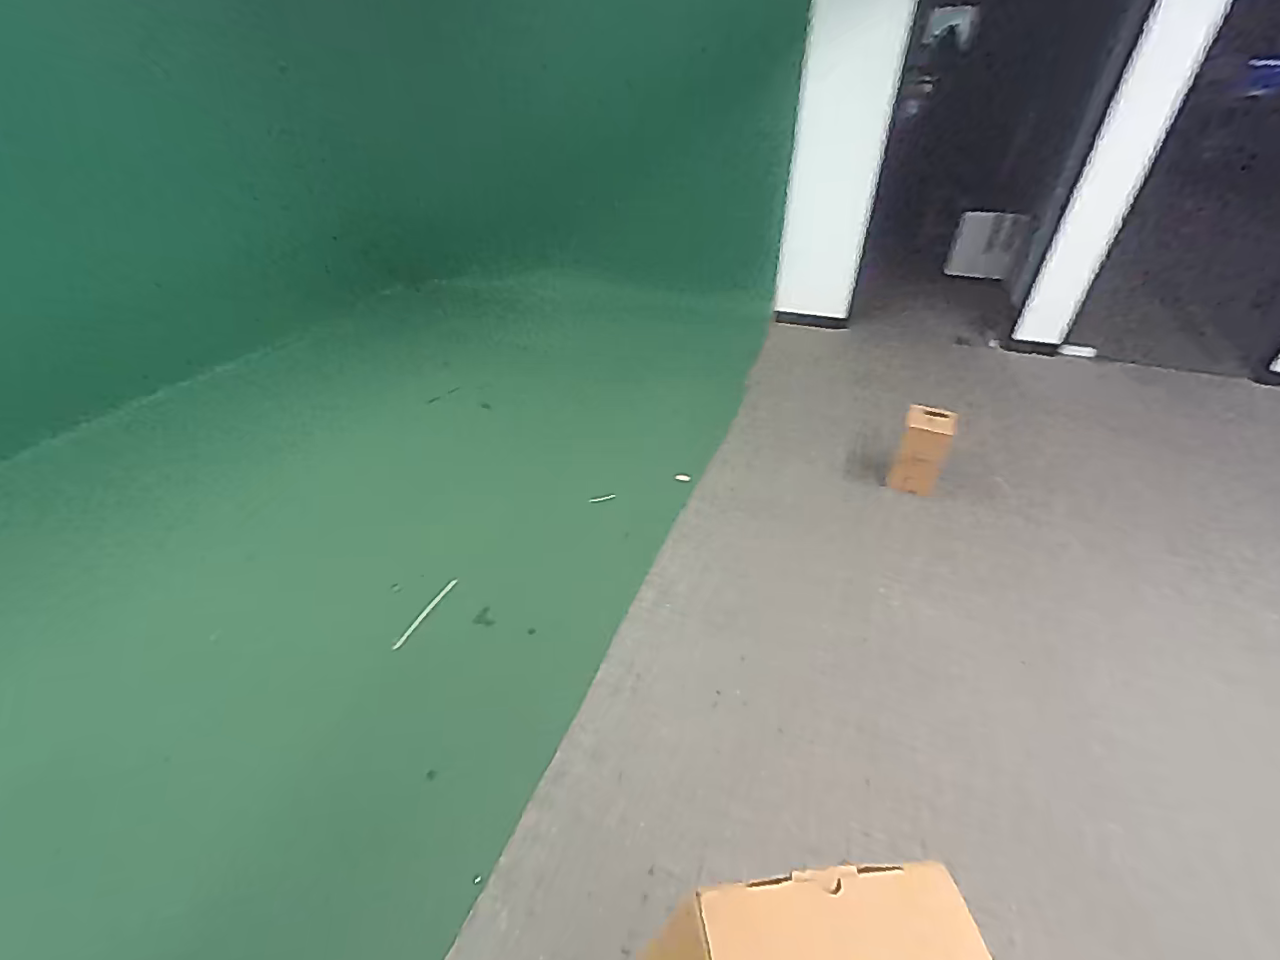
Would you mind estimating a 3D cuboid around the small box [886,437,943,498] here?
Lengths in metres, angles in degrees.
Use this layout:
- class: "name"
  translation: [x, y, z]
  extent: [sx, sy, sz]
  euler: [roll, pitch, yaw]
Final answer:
- class: "small box"
  translation: [1.160, -0.050, 2.294]
  extent: [0.168, 0.176, 0.179]
  euler: [19, 44, 24]

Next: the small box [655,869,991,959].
- class: "small box"
  translation: [0.108, 0.355, 0.305]
  extent: [0.168, 0.176, 0.179]
  euler: [5, 37, -13]
